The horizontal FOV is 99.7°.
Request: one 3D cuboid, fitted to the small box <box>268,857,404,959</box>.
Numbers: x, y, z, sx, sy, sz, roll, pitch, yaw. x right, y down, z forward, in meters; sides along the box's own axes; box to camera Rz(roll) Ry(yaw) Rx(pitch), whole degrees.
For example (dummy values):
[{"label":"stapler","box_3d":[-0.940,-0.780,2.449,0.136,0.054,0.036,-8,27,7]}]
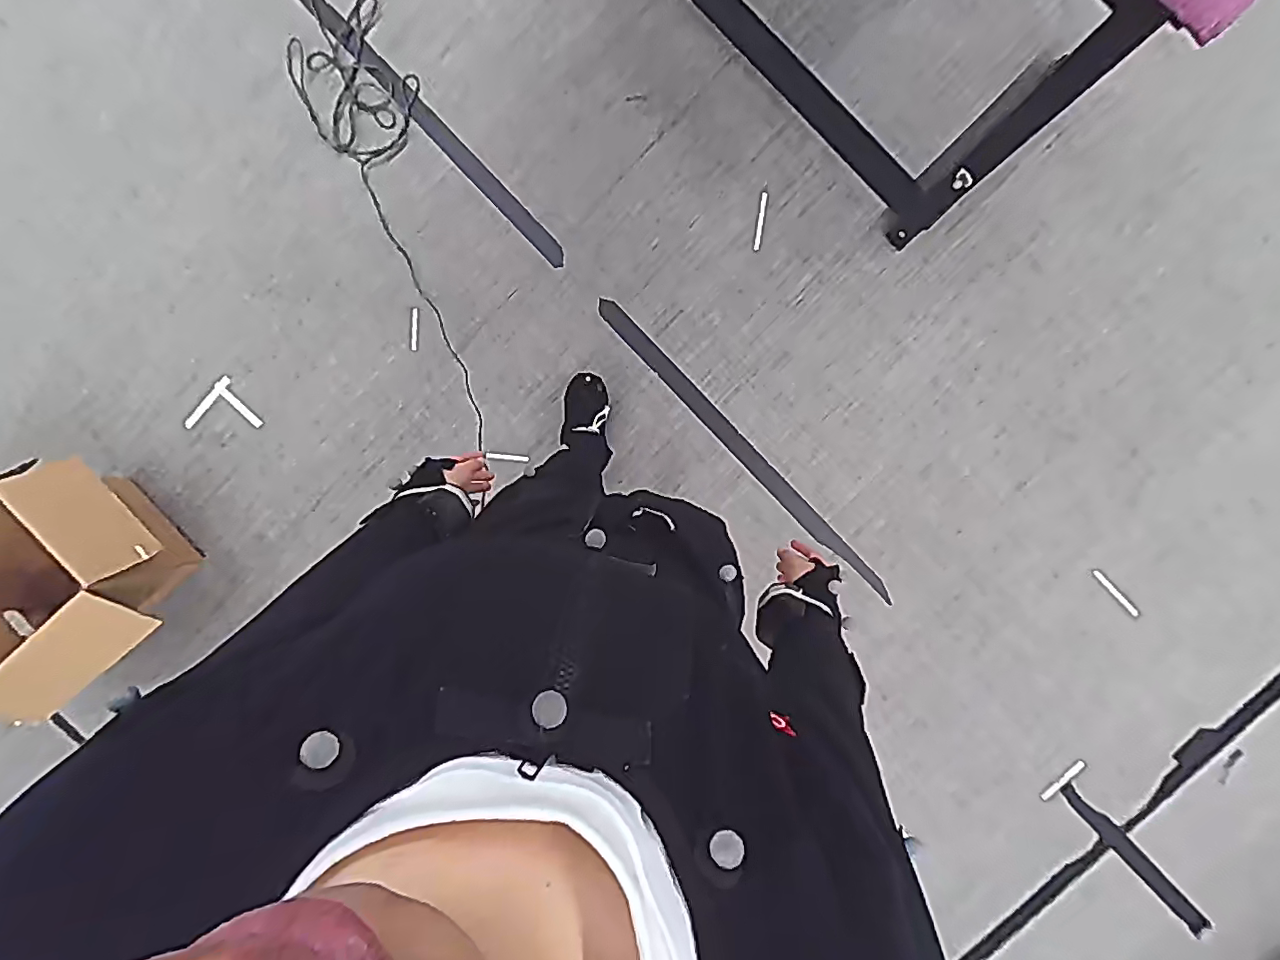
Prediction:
[{"label":"small box","box_3d":[-0.662,0.998,1.193,0.168,0.176,0.179,43,93,-1]}]
